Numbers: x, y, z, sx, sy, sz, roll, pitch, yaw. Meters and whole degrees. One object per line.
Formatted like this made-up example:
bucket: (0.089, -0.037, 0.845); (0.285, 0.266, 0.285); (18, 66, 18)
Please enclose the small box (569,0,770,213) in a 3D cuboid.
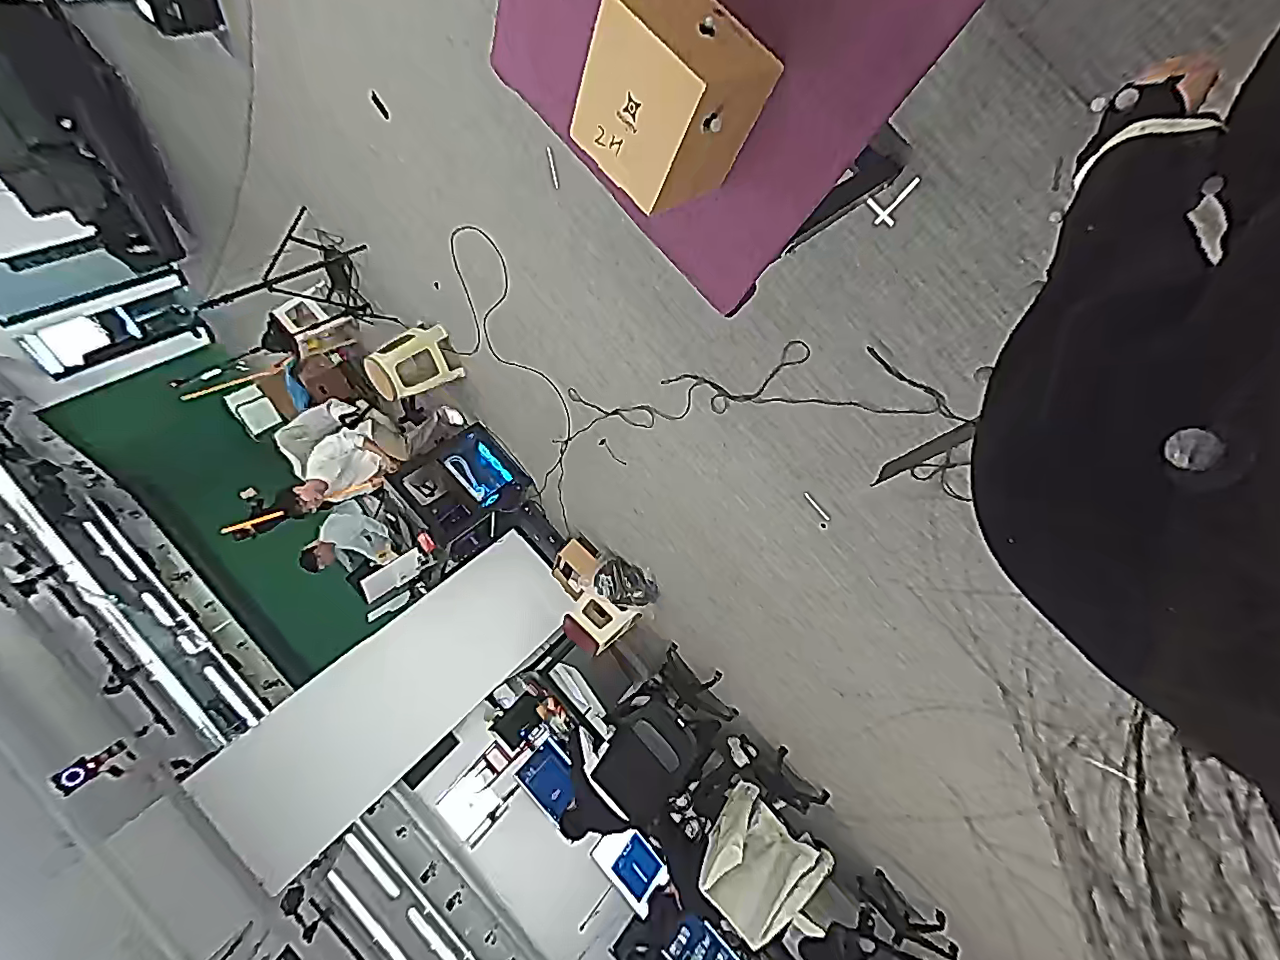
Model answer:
small box: (0.040, -0.492, 0.696); (0.168, 0.176, 0.179); (48, 148, 5)
